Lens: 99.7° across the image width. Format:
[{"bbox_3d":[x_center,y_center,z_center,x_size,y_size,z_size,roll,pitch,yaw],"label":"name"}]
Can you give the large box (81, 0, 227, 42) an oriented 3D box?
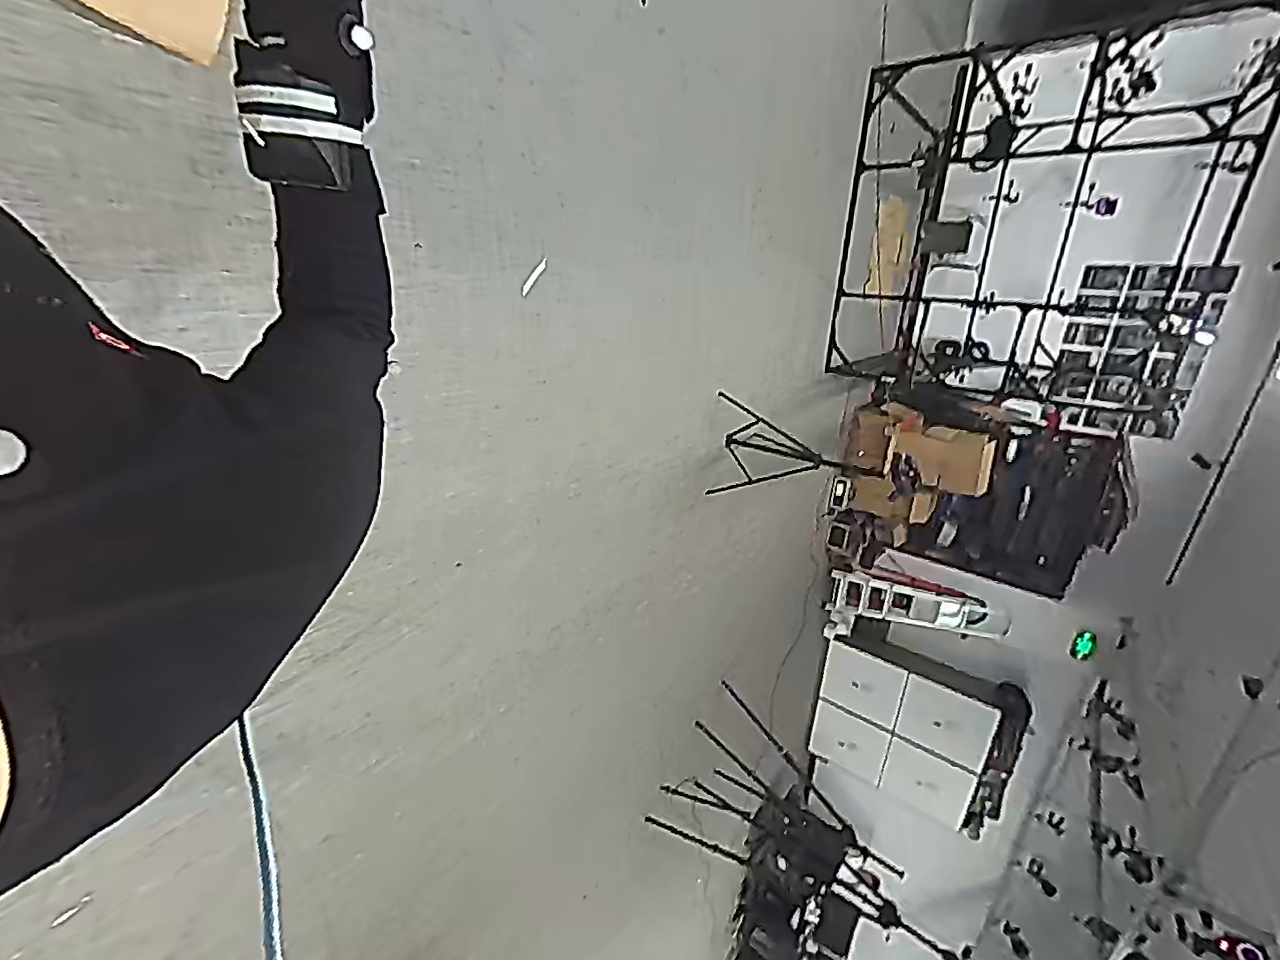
[{"bbox_3d":[-0.425,-0.482,0.213,0.408,0.320,0.320,3,119,-56],"label":"large box"}]
